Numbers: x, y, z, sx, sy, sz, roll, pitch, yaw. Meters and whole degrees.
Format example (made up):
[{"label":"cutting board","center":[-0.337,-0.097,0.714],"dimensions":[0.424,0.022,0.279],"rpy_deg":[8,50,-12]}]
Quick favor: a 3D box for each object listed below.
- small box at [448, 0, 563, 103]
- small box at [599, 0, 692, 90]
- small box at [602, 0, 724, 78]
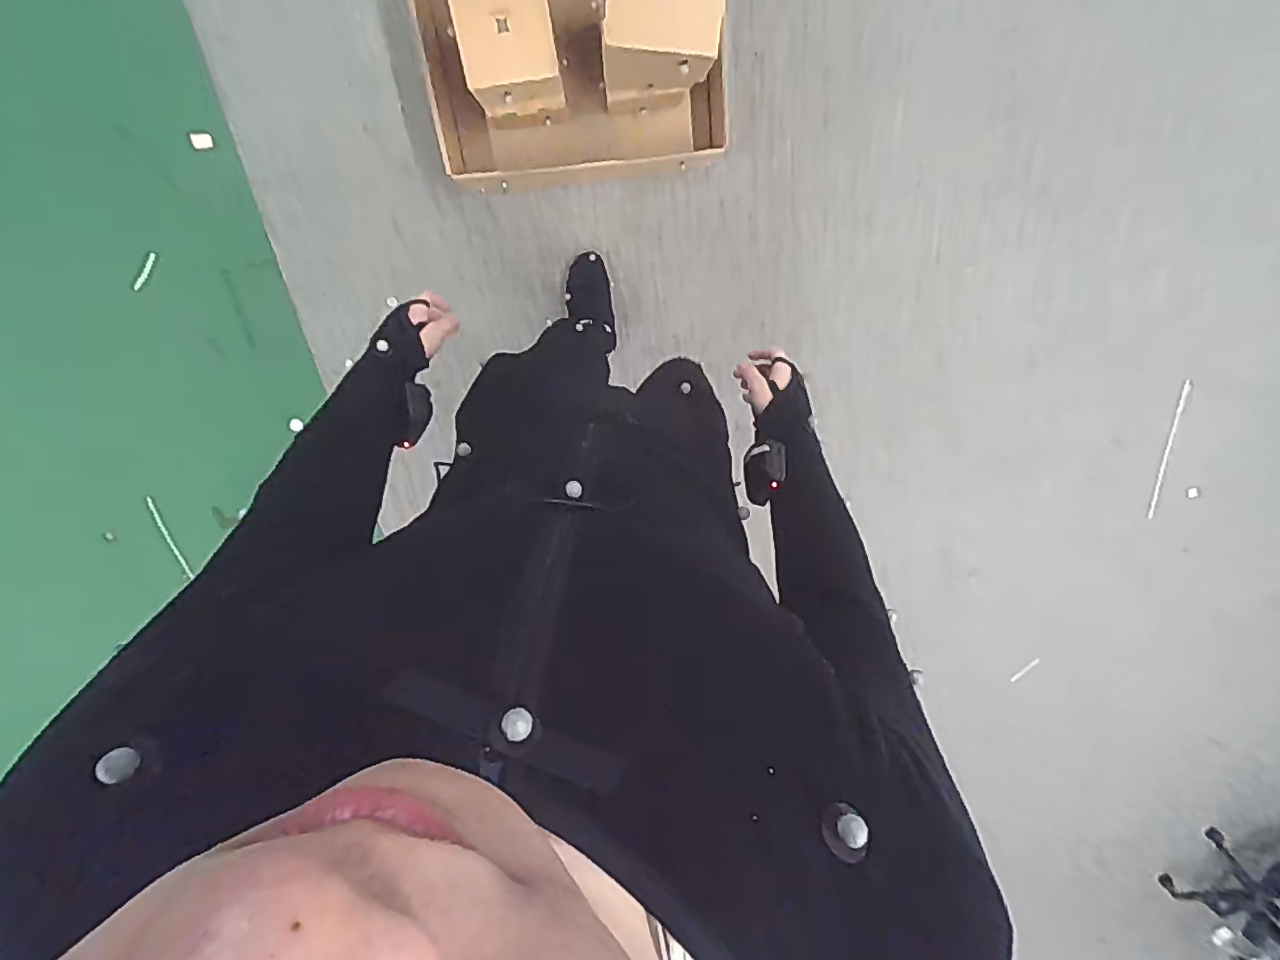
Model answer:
[{"label":"small box","center":[-0.239,-0.809,0.982],"dimensions":[0.168,0.176,0.179],"rpy_deg":[-9,114,-1]},{"label":"small box","center":[0.016,-0.828,0.982],"dimensions":[0.179,0.176,0.168],"rpy_deg":[-4,115,-1]},{"label":"small box","center":[0.034,-0.746,0.838],"dimensions":[0.179,0.176,0.168],"rpy_deg":[4,115,-4]}]
